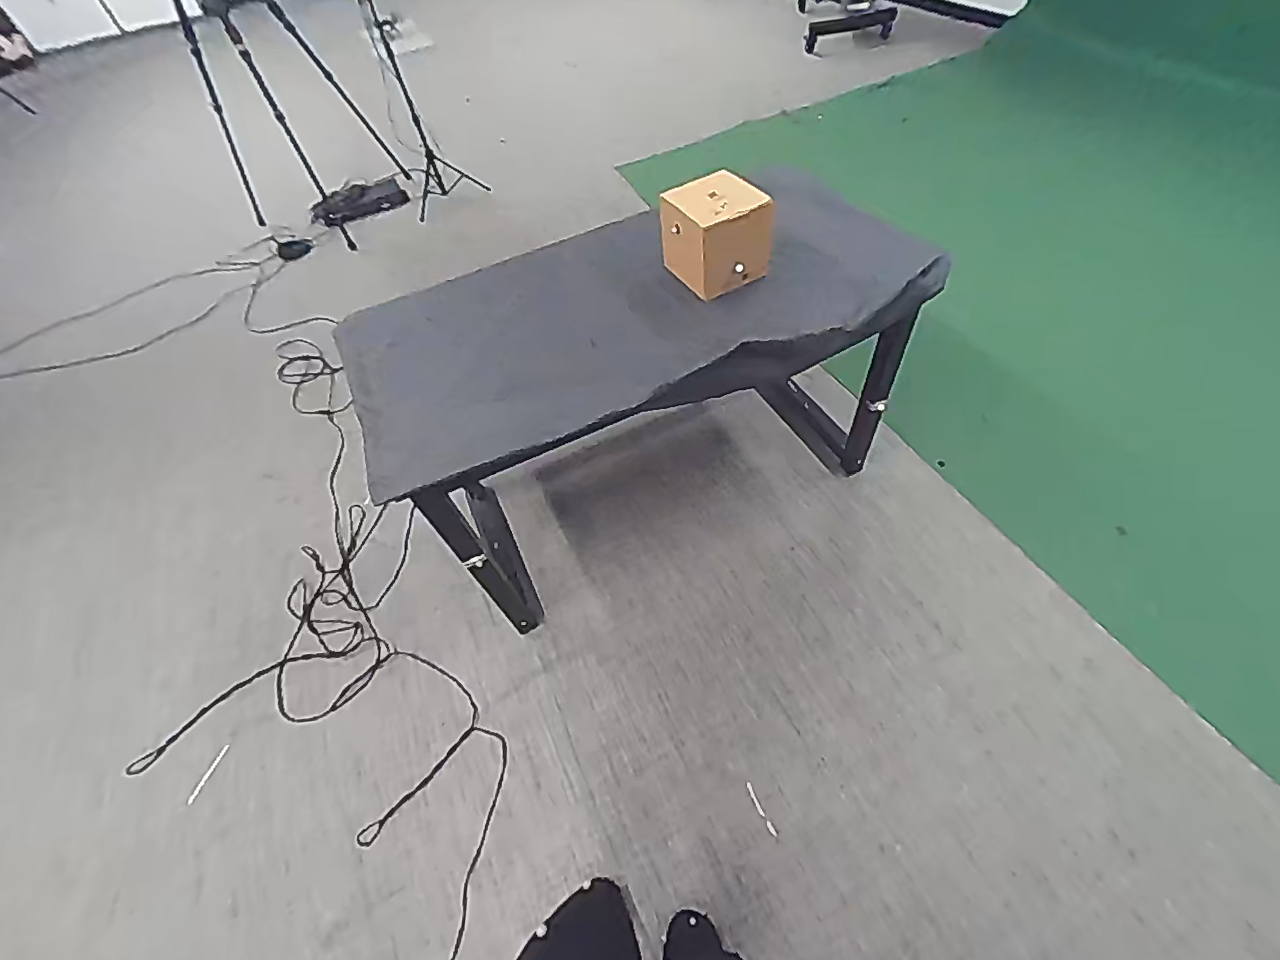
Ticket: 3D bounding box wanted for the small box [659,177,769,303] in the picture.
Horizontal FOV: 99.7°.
[{"bbox_3d":[0.155,-0.516,1.168,0.168,0.176,0.179,-27,55,-12],"label":"small box"}]
